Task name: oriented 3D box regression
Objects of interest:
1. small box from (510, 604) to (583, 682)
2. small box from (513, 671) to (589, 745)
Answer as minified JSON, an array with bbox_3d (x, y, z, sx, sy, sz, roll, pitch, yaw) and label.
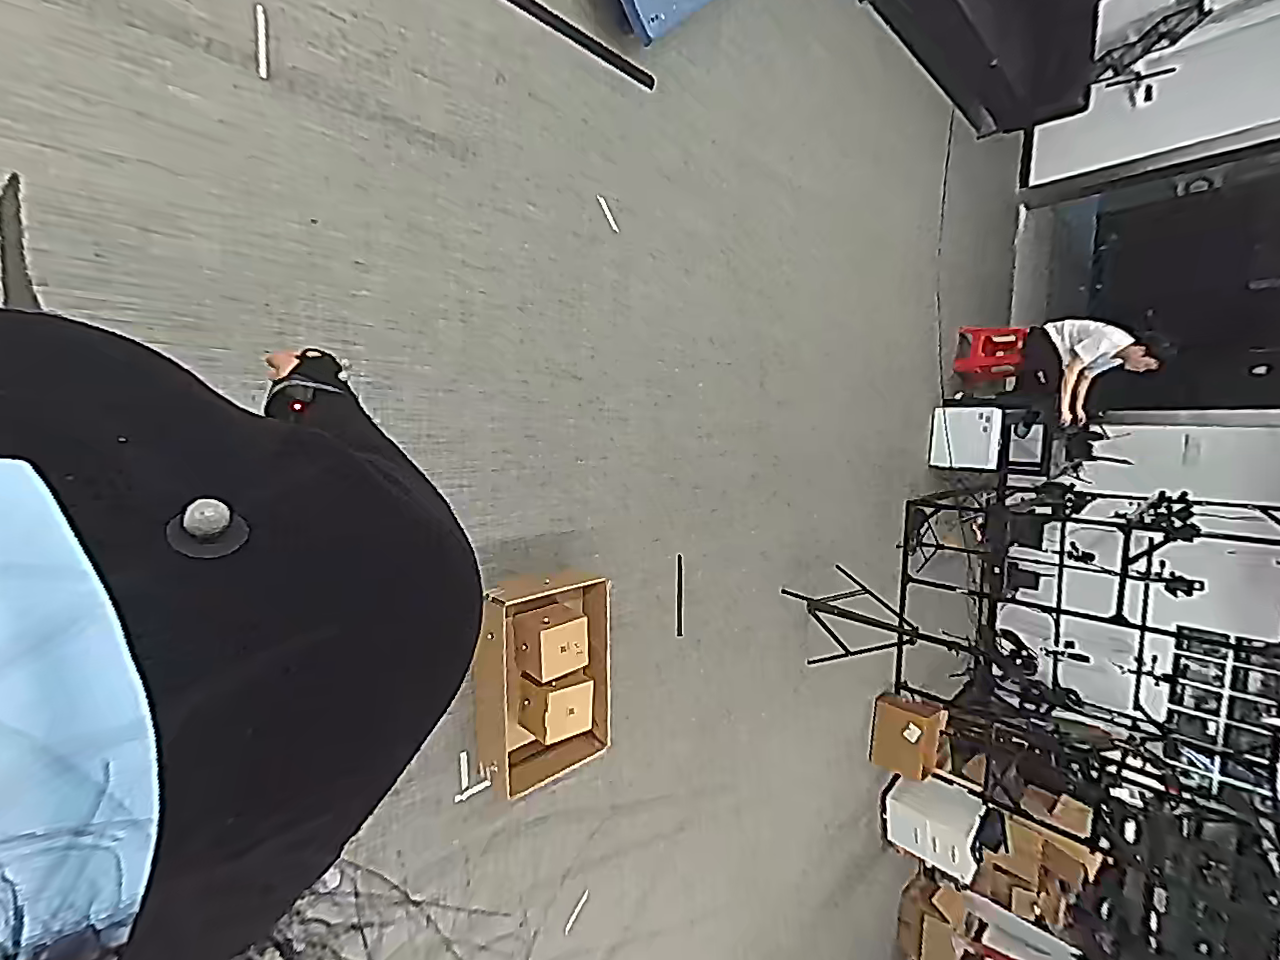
[{"bbox_3d":[-0.301,0.510,1.719,0.179,0.176,0.168,-8,102,-43],"label":"small box"},{"bbox_3d":[-0.291,0.724,1.758,0.179,0.176,0.168,2,93,-43],"label":"small box"}]
